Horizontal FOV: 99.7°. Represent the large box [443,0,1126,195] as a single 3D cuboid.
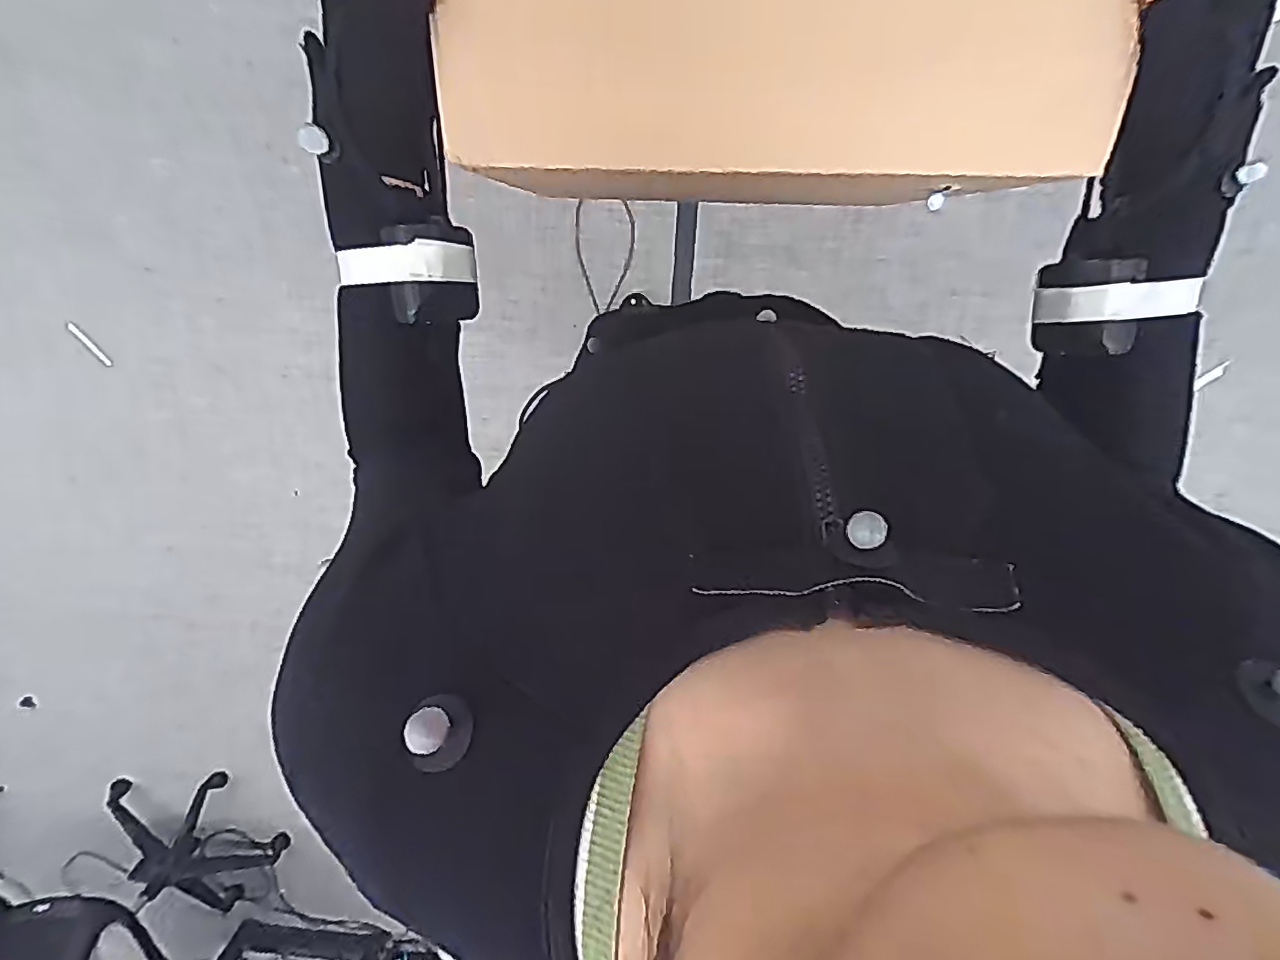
[{"bbox_3d":[0.087,-0.400,0.420,0.408,0.320,0.320,1,114,0],"label":"large box"}]
